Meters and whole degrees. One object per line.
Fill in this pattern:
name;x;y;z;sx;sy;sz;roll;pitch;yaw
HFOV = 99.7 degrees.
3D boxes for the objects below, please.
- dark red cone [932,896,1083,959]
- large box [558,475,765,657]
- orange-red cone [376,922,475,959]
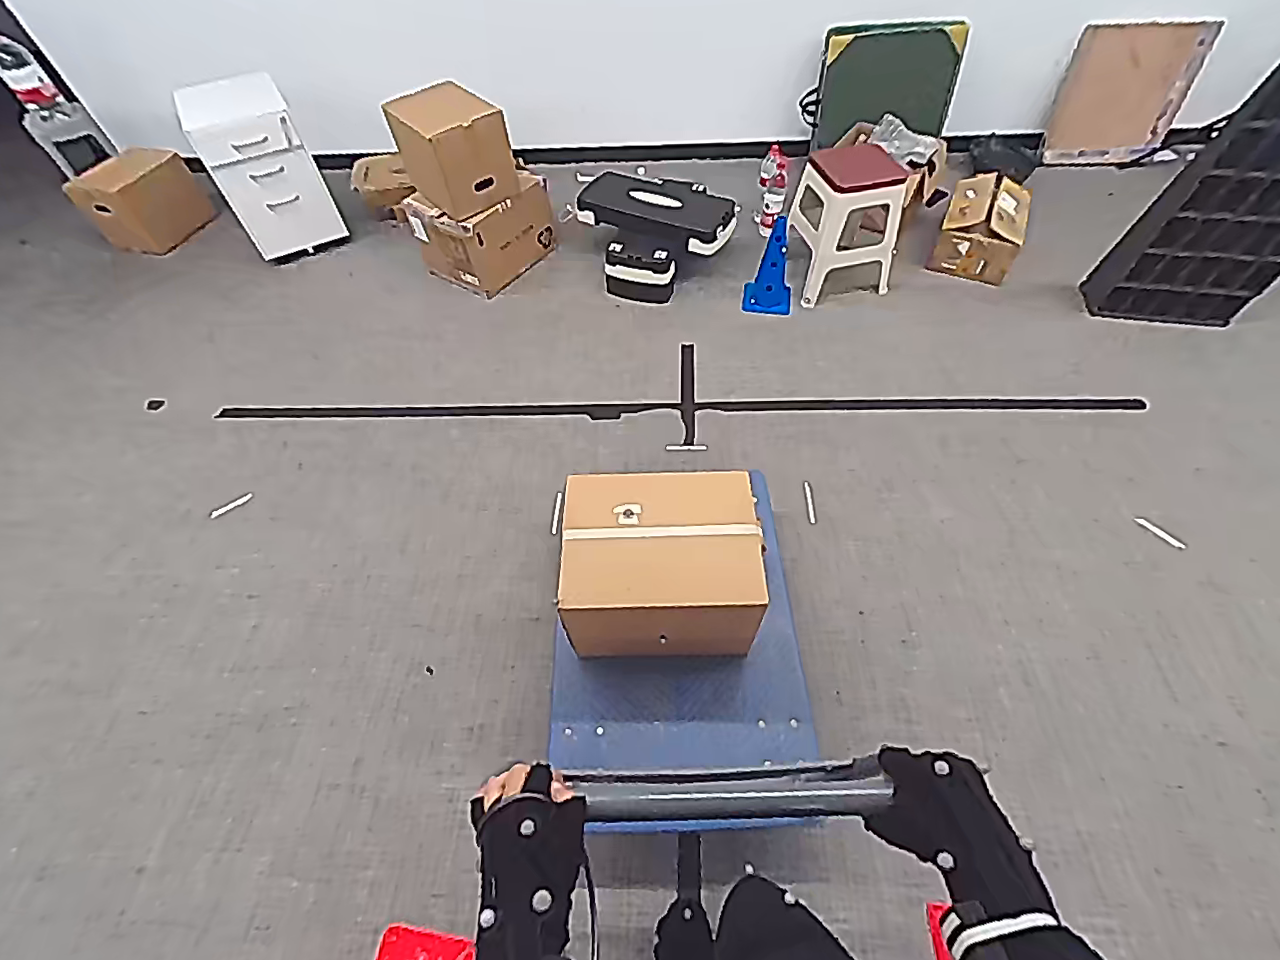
dark red cone;0.683;0.838;0.908;0.201;0.394;0.202;2;55;1
large box;0.045;0.206;1.234;0.408;0.320;0.320;-2;55;2
orange-red cone;-0.449;0.912;0.930;0.198;0.360;0.199;7;54;6
